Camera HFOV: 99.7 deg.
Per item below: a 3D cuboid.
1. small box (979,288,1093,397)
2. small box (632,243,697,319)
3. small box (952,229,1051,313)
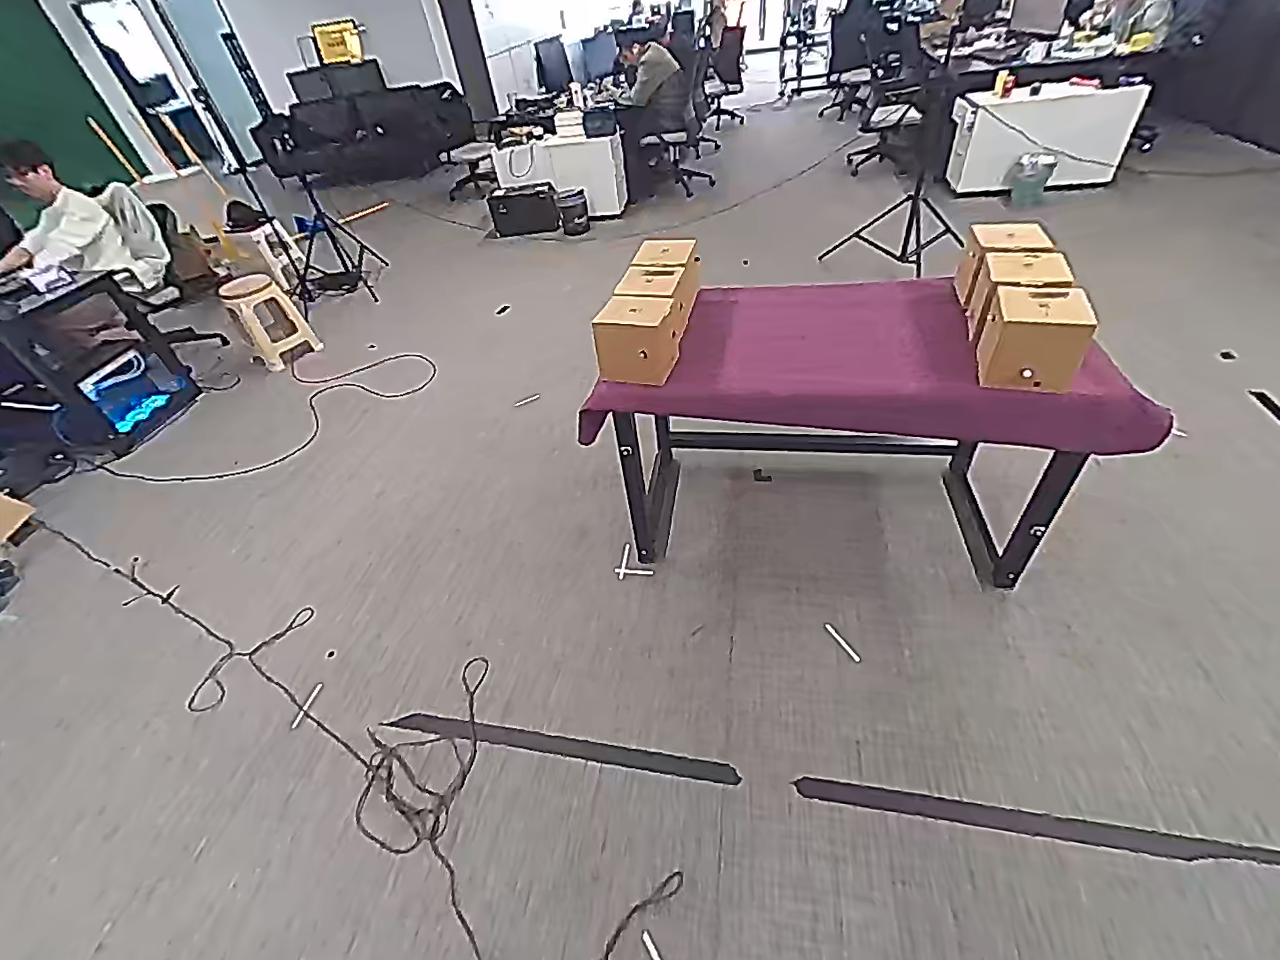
[{"bbox_3d":[0.877,-0.311,1.216,0.168,0.176,0.179,9,49,23],"label":"small box"},{"bbox_3d":[0.081,-0.616,1.673,0.168,0.176,0.179,6,45,15],"label":"small box"},{"bbox_3d":[0.978,-0.572,1.482,0.168,0.176,0.179,6,44,14],"label":"small box"}]
